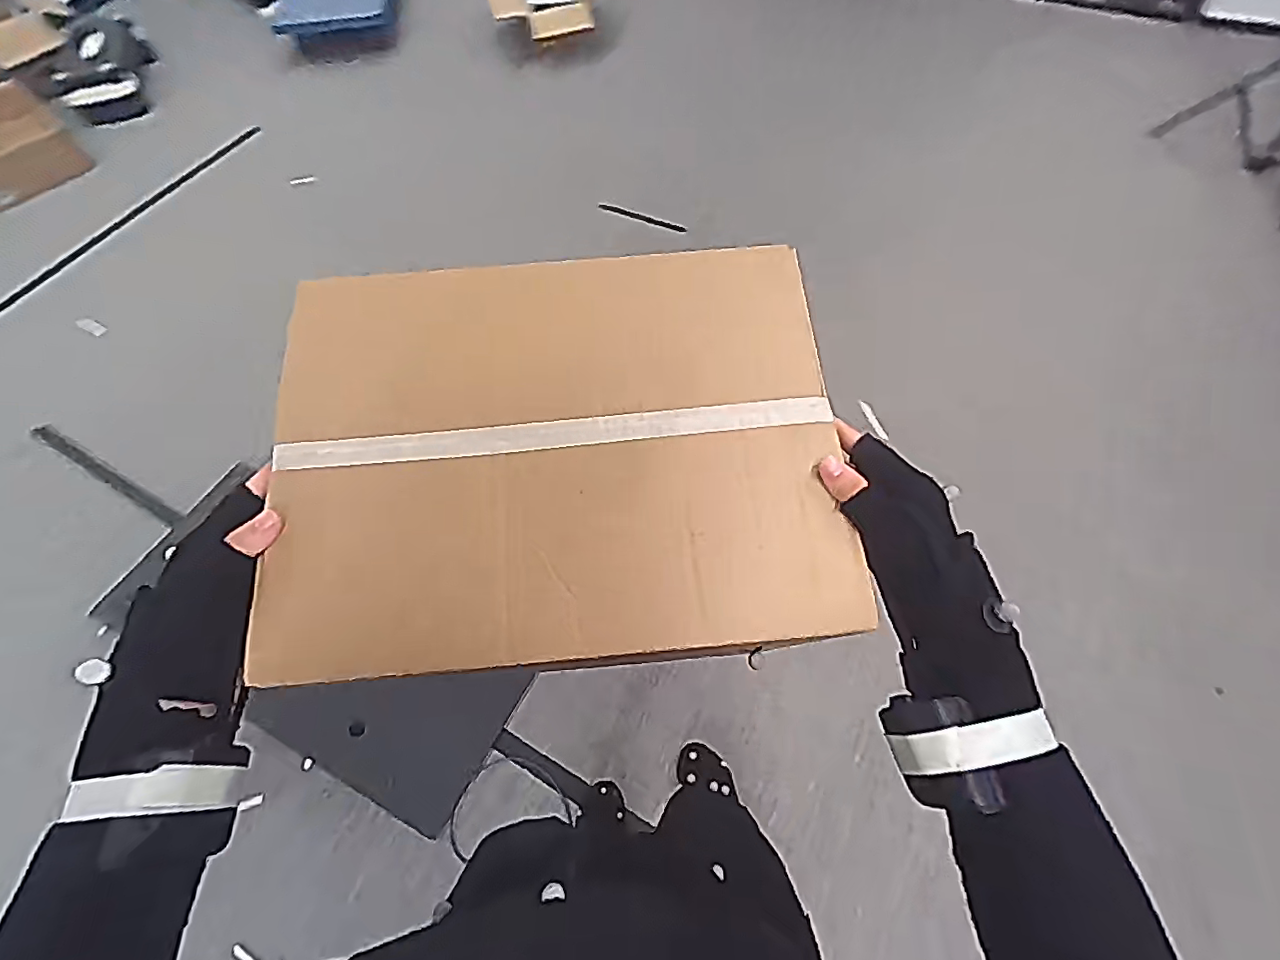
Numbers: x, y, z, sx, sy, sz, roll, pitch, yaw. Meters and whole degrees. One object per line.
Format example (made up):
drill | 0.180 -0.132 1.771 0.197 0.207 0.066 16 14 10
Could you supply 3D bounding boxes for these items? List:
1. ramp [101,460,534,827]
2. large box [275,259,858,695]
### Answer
ramp | -0.780 0.370 1.380 0.991 0.206 0.509 24 65 14
large box | -0.060 0.023 0.550 0.408 0.320 0.320 -6 70 -1
